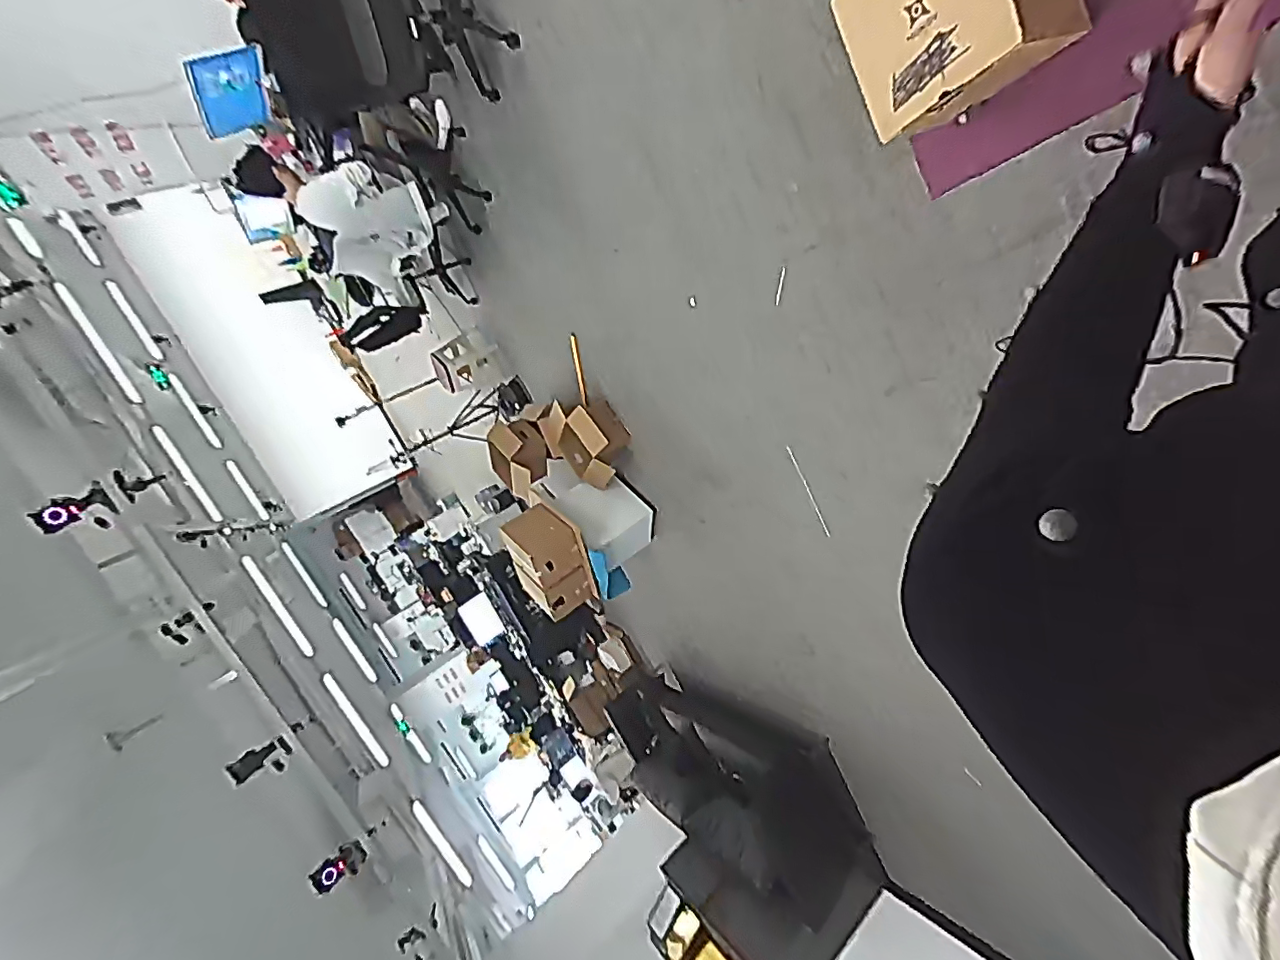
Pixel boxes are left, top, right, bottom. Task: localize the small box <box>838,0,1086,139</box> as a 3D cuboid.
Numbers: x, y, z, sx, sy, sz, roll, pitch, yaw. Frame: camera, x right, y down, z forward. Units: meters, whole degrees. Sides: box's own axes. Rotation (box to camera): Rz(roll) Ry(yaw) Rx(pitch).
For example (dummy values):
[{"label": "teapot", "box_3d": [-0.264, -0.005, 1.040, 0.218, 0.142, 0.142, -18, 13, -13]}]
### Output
[{"label": "small box", "box_3d": [0.377, -0.548, 0.634, 0.168, 0.176, 0.179, -7, 111, 63]}]
